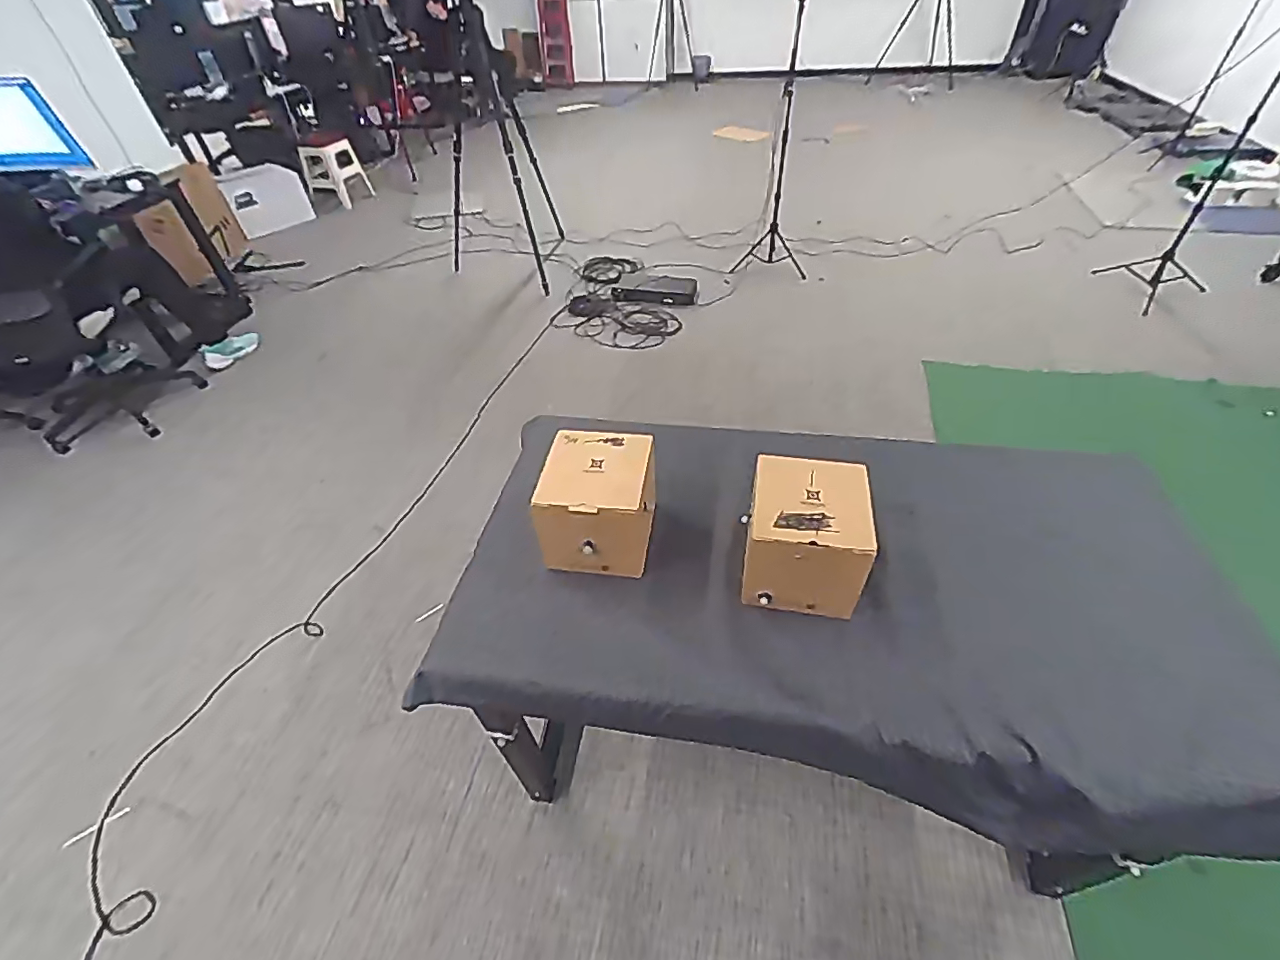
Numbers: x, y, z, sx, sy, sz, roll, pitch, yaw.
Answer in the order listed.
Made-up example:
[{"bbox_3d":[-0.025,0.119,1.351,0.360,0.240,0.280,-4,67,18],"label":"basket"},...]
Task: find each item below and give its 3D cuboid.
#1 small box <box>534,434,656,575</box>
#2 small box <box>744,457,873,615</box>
[{"bbox_3d":[-0.064,0.043,0.921,0.168,0.176,0.179,4,46,9],"label":"small box"},{"bbox_3d":[0.256,0.089,0.849,0.168,0.176,0.179,6,45,11],"label":"small box"}]
